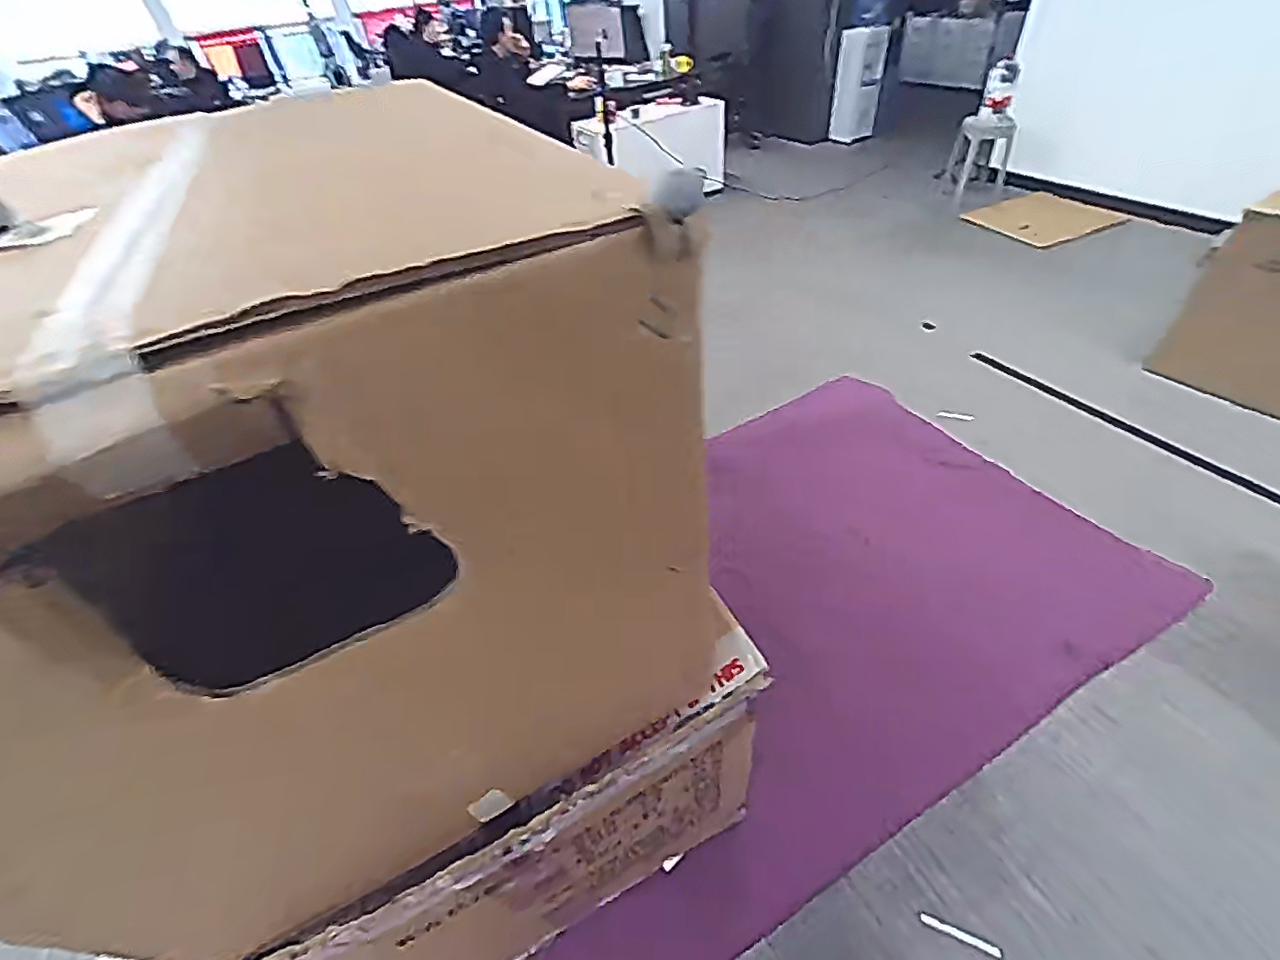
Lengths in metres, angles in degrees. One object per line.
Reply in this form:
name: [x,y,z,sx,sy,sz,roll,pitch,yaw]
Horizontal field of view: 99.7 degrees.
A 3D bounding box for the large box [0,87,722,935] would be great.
large box: [-0.187,-0.030,0.360,0.320,0.320,0.408,-25,47,-16]
